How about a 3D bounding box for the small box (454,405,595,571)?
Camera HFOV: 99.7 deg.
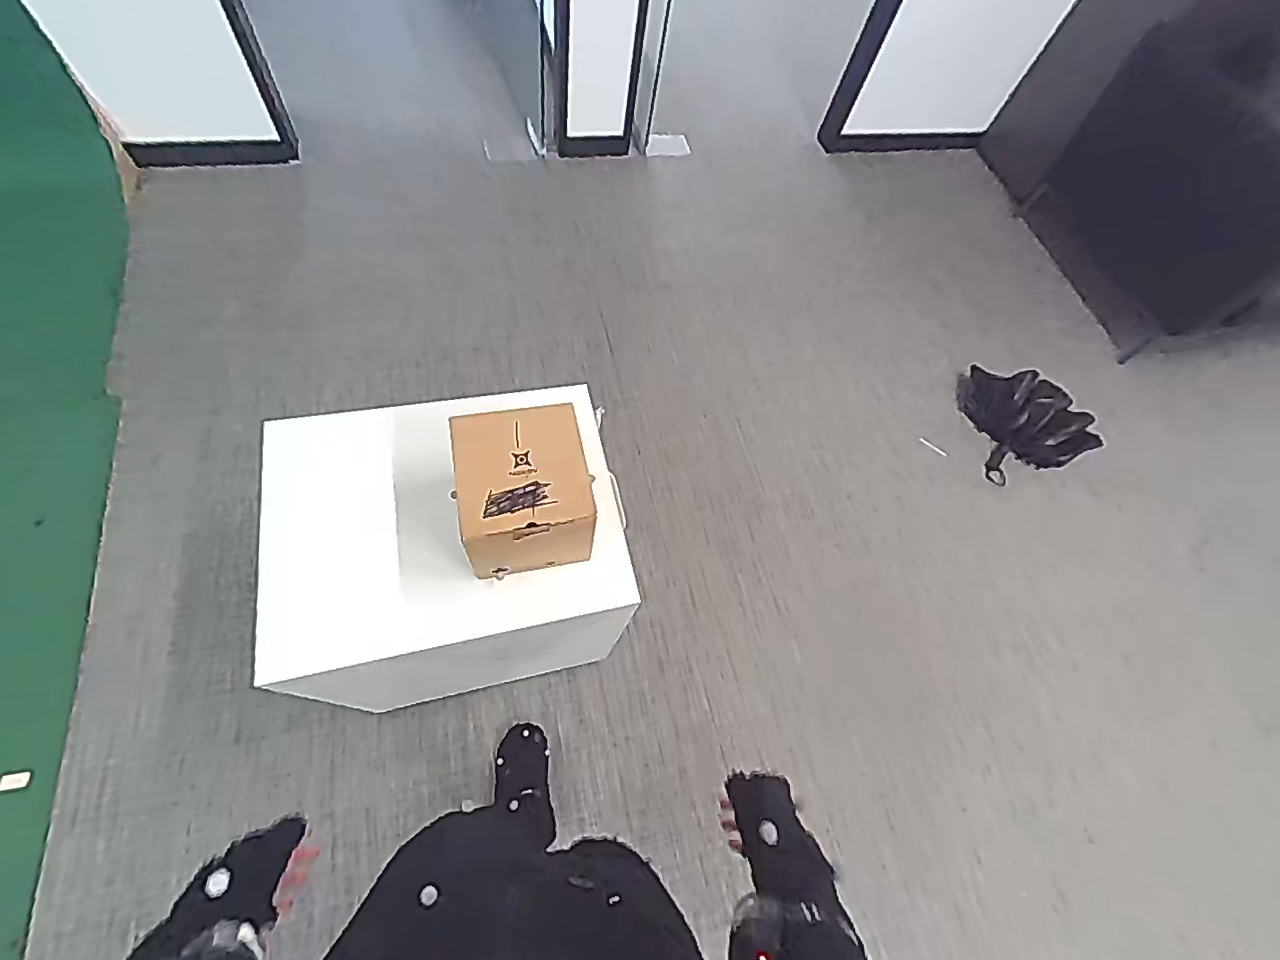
[{"bbox_3d":[-0.160,0.019,0.765,0.168,0.176,0.179,-8,64,-13],"label":"small box"}]
